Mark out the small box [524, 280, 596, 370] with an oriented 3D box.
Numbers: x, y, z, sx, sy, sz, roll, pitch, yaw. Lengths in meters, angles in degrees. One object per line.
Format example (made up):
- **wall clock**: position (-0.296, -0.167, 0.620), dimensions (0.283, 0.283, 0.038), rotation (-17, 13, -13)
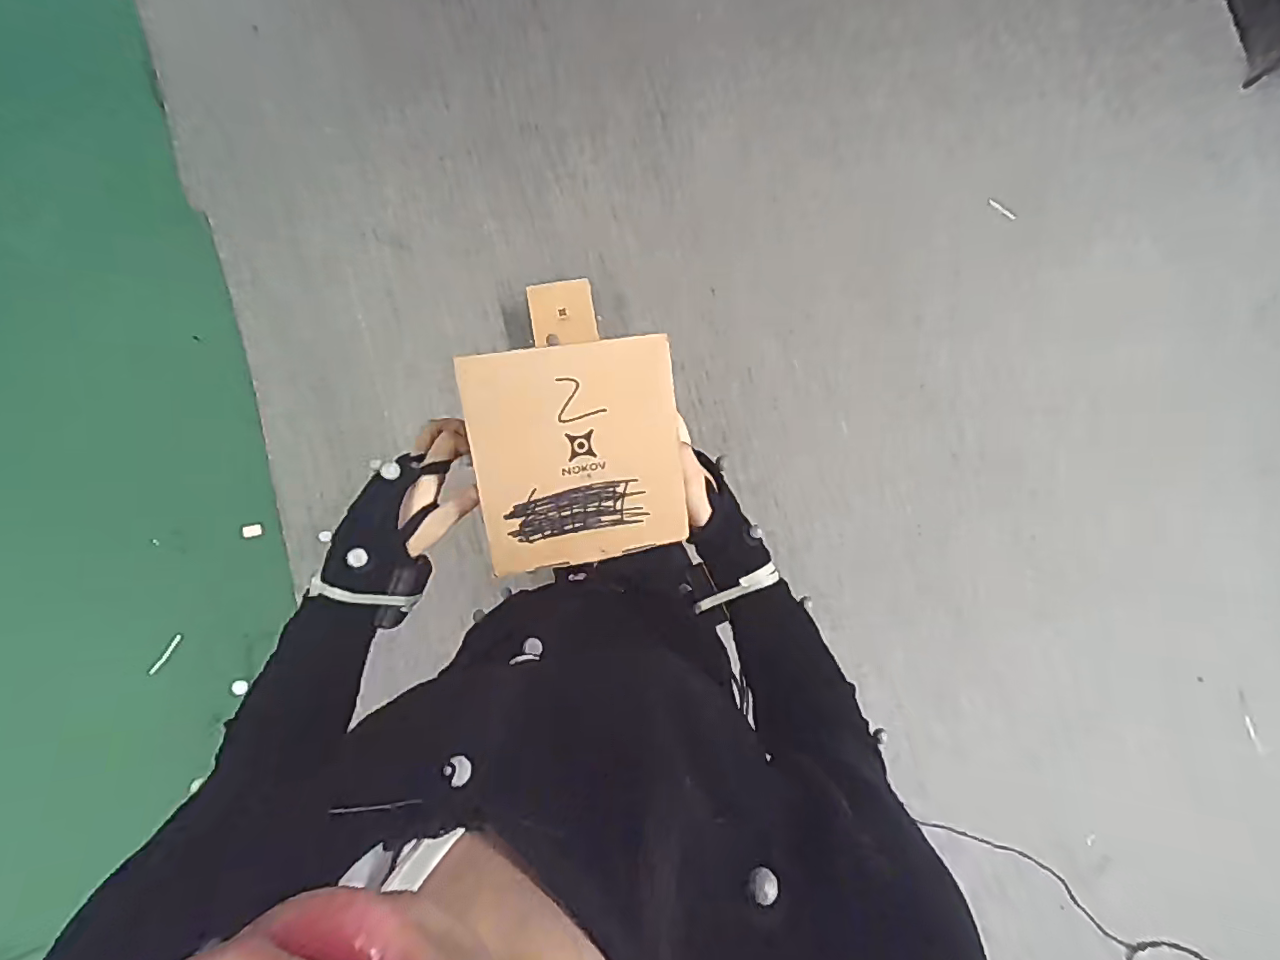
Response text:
- **small box**: position (-0.216, -0.417, 1.474), dimensions (0.168, 0.176, 0.179), rotation (-10, 86, -6)
